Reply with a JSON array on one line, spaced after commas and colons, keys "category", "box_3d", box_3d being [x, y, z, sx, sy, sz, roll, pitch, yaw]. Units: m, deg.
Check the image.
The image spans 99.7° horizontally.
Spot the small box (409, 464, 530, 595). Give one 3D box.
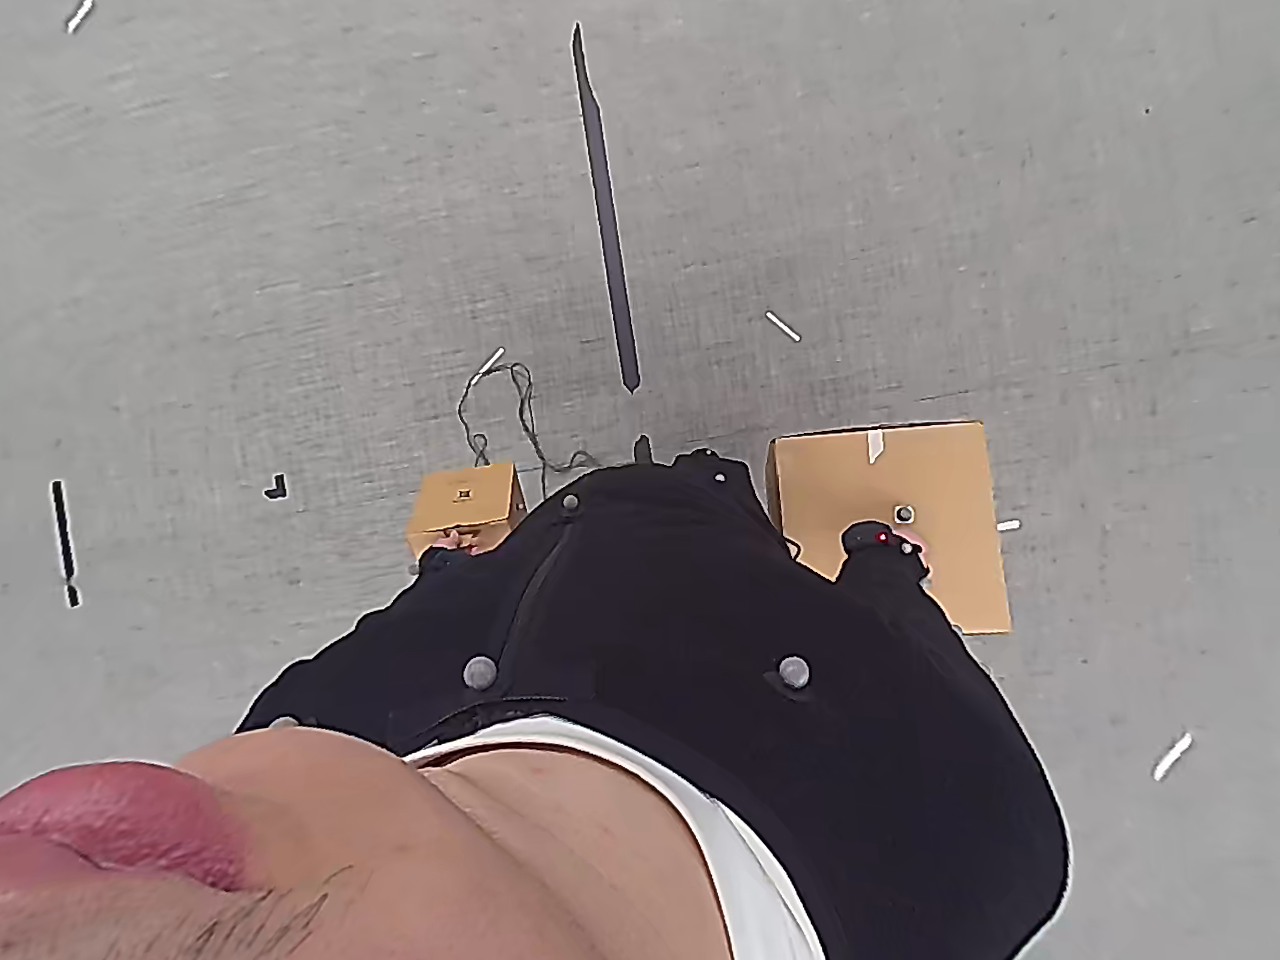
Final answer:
[{"category": "small box", "box_3d": [-0.300, 0.095, 0.996, 0.168, 0.179, 0.176, -8, 125, -4]}]
